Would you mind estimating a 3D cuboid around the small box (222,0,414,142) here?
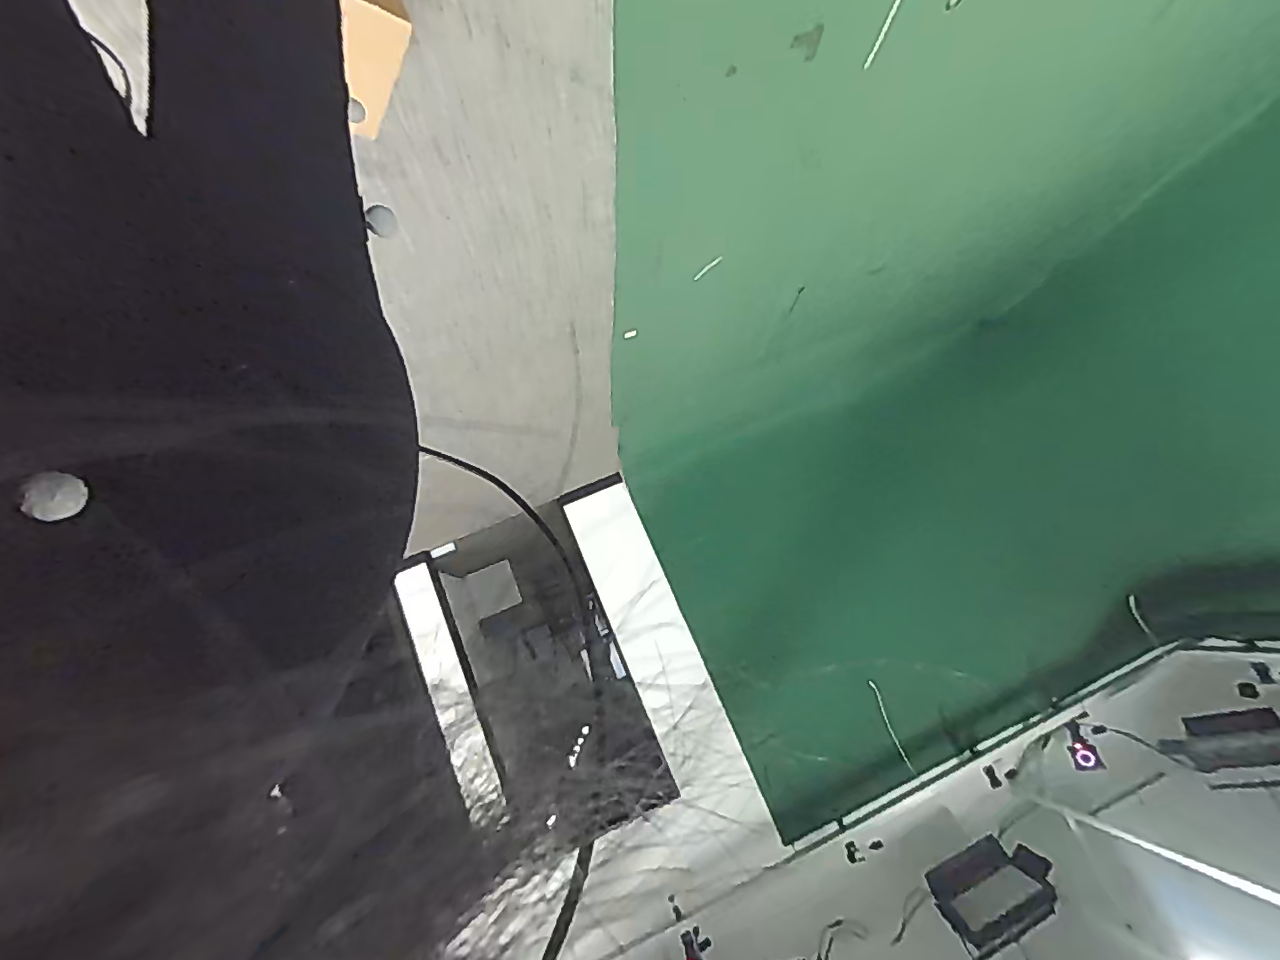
[{"bbox_3d":[-0.429,-0.605,0.713,0.168,0.176,0.179,-10,160,-46],"label":"small box"}]
